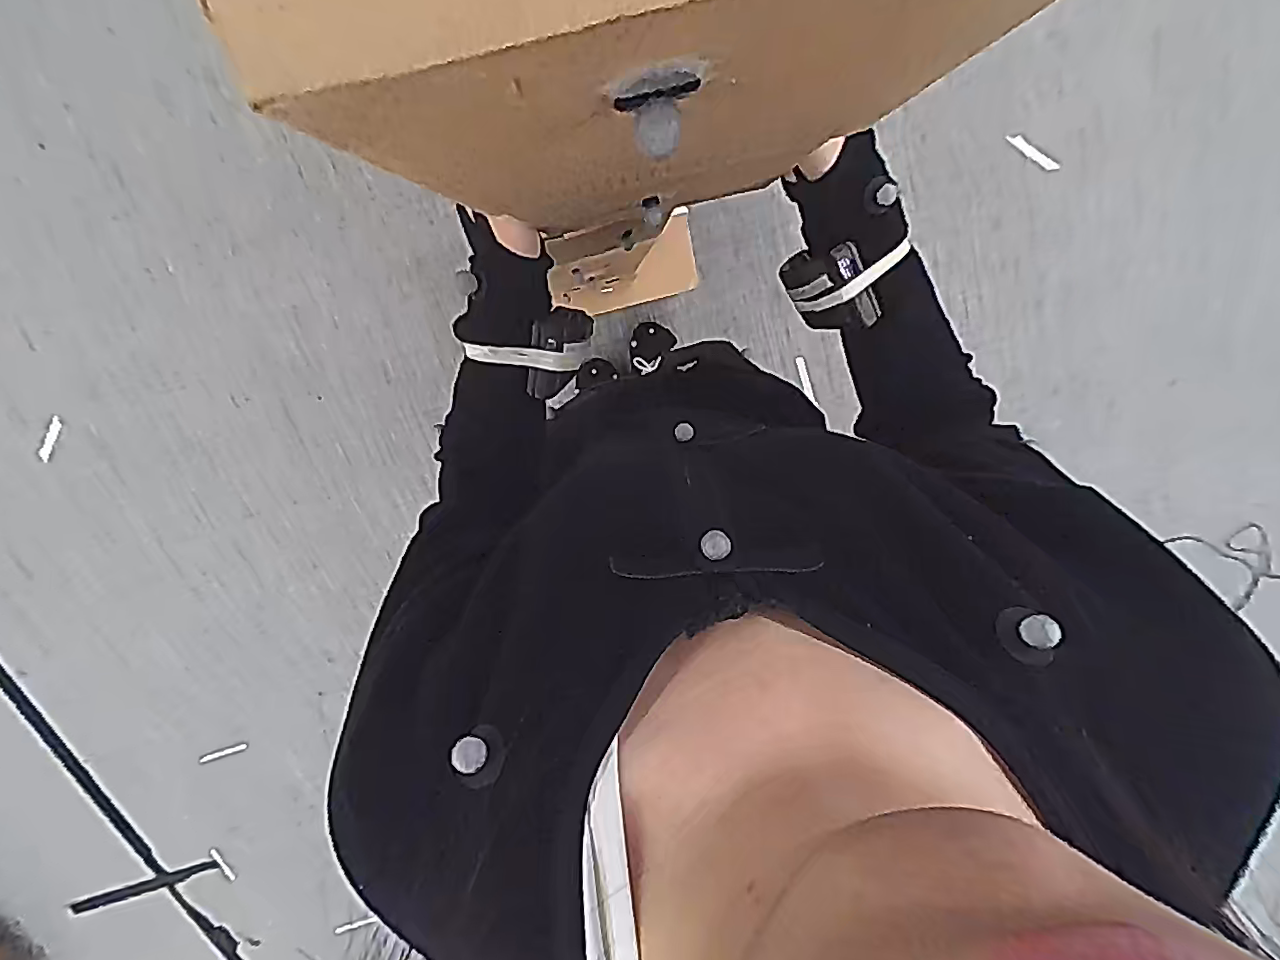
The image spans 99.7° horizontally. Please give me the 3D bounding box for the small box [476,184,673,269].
[{"bbox_3d":[-0.072,-0.314,0.518,0.168,0.176,0.179,-17,104,-1],"label":"small box"}]

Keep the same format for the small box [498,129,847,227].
[{"bbox_3d":[-0.001,-0.246,0.291,0.168,0.176,0.179,-11,109,3],"label":"small box"}]

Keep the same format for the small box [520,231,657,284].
[{"bbox_3d":[-0.082,-0.353,0.675,0.168,0.176,0.179,-16,106,0],"label":"small box"}]

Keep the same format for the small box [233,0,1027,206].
[{"bbox_3d":[0.004,-0.183,0.138,0.179,0.176,0.168,-11,110,3],"label":"small box"}]
